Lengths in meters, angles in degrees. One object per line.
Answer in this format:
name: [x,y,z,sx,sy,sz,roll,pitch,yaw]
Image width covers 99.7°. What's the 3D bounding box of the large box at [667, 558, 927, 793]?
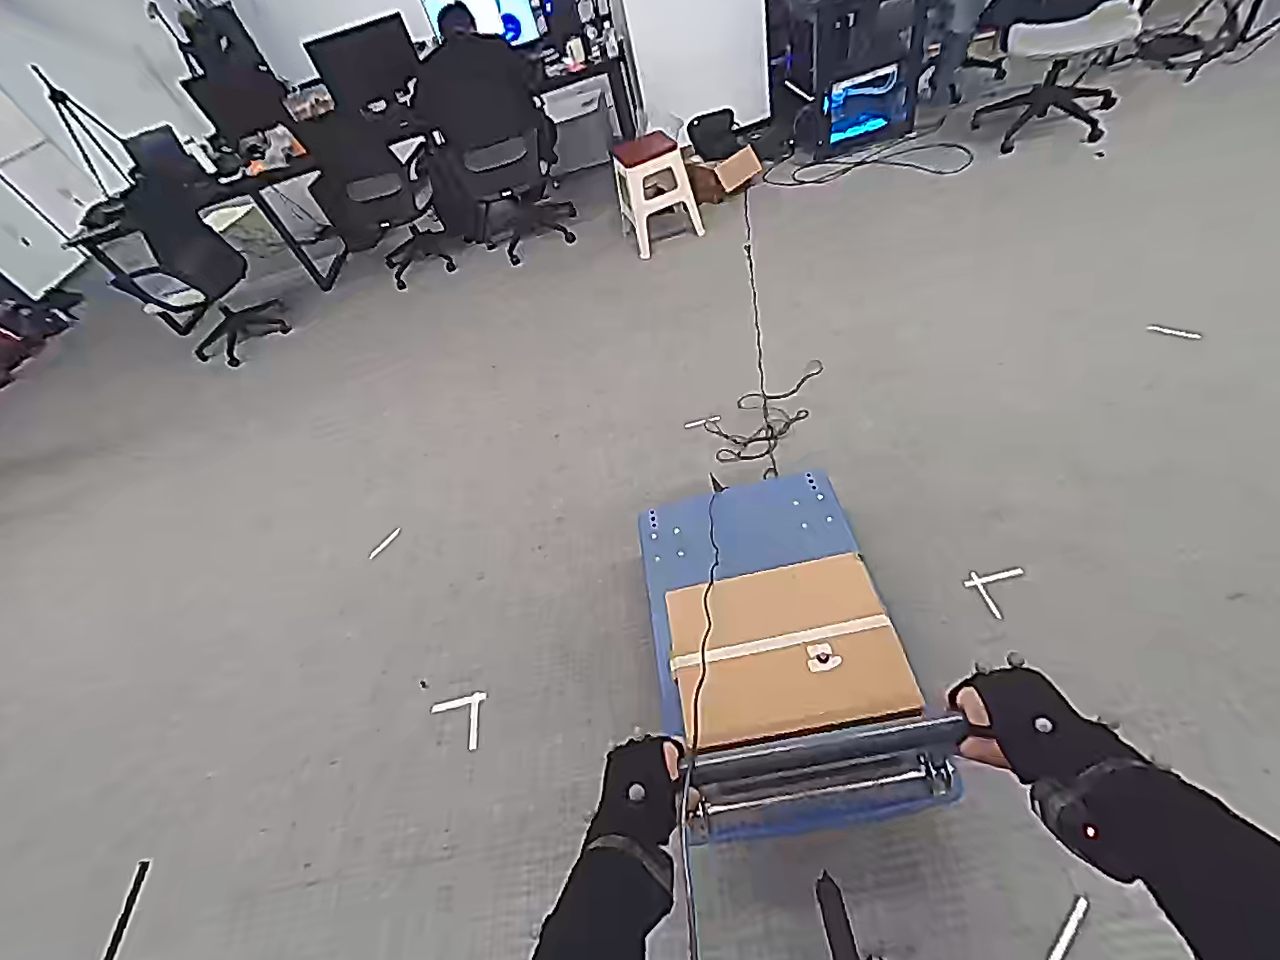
large box: [0.294,0.407,1.105,0.408,0.320,0.320,-13,49,6]
